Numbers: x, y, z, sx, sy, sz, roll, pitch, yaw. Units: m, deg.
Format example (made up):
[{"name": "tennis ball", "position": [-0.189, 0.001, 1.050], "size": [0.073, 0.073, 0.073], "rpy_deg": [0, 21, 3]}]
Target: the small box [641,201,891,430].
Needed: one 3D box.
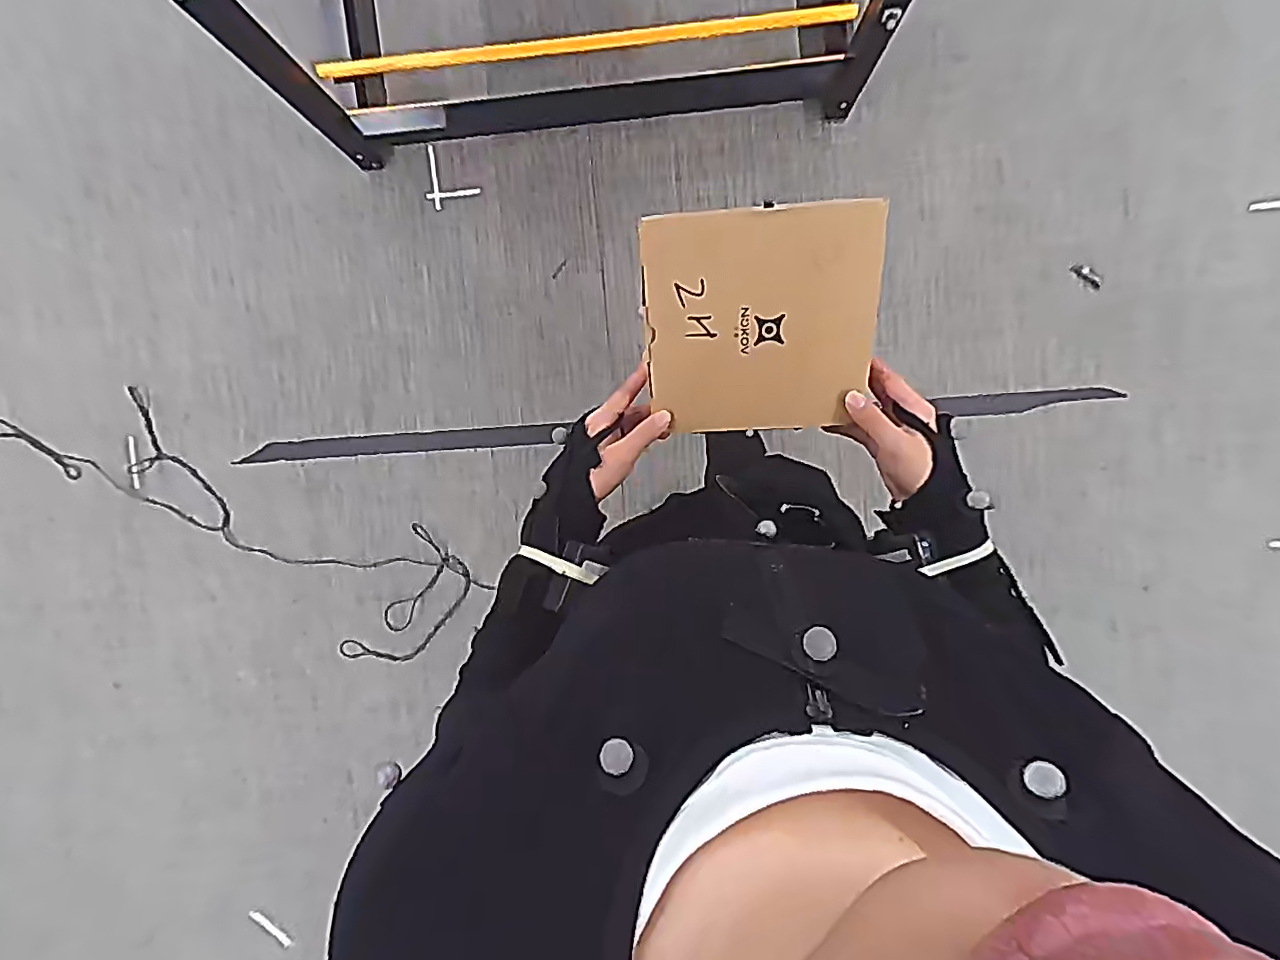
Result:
[{"name": "small box", "position": [0.098, -0.153, 0.483], "size": [0.179, 0.176, 0.168], "rpy_deg": [-2, 116, 7]}]
